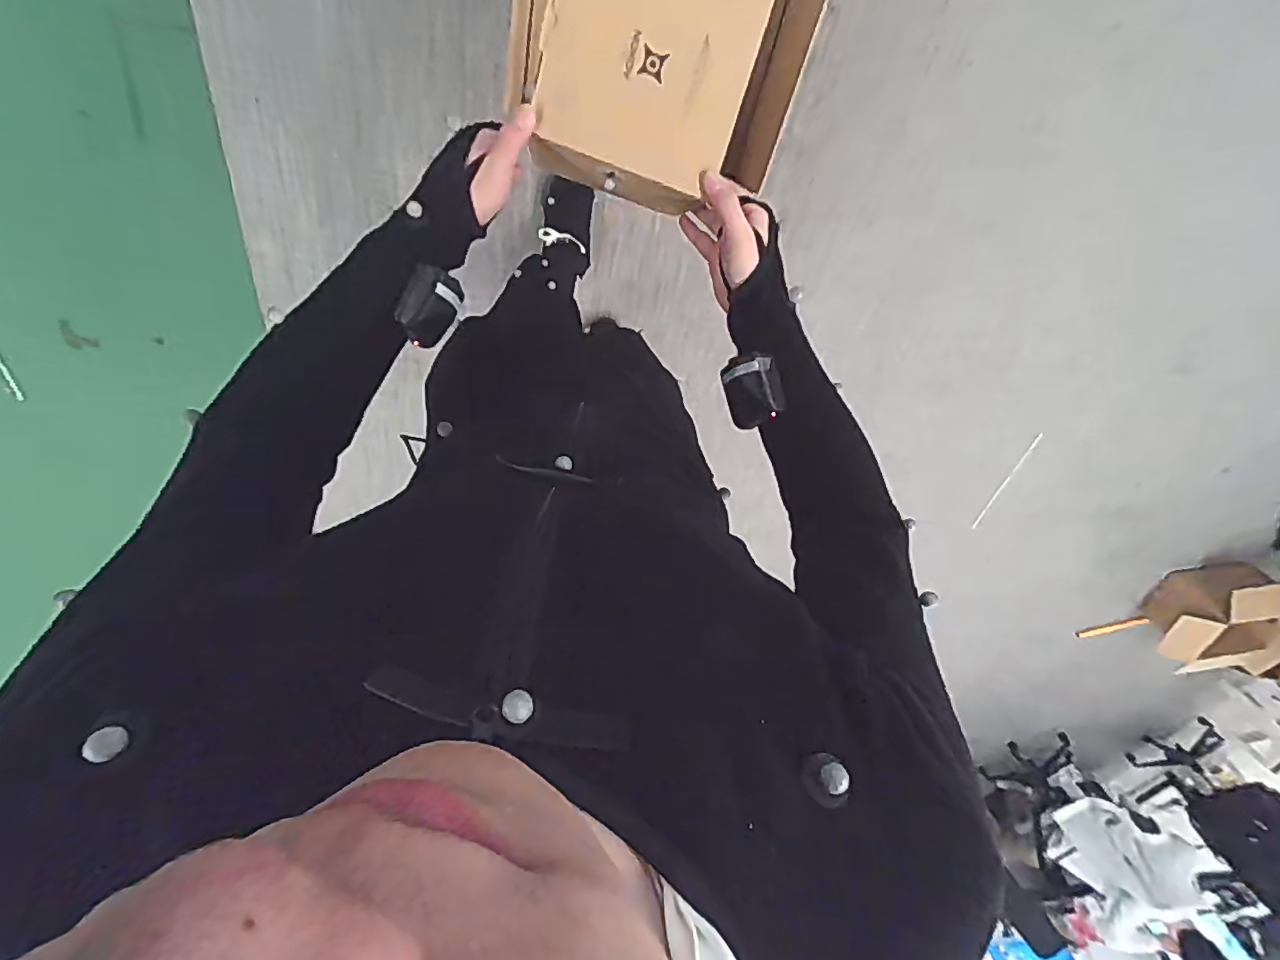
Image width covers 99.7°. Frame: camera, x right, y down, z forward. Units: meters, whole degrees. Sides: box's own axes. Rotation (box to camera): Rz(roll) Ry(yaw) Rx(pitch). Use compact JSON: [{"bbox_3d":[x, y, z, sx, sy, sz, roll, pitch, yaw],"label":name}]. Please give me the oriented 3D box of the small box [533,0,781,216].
[{"bbox_3d":[0.002,-0.377,0.532,0.179,0.176,0.168,15,107,-14],"label":"small box"}]
